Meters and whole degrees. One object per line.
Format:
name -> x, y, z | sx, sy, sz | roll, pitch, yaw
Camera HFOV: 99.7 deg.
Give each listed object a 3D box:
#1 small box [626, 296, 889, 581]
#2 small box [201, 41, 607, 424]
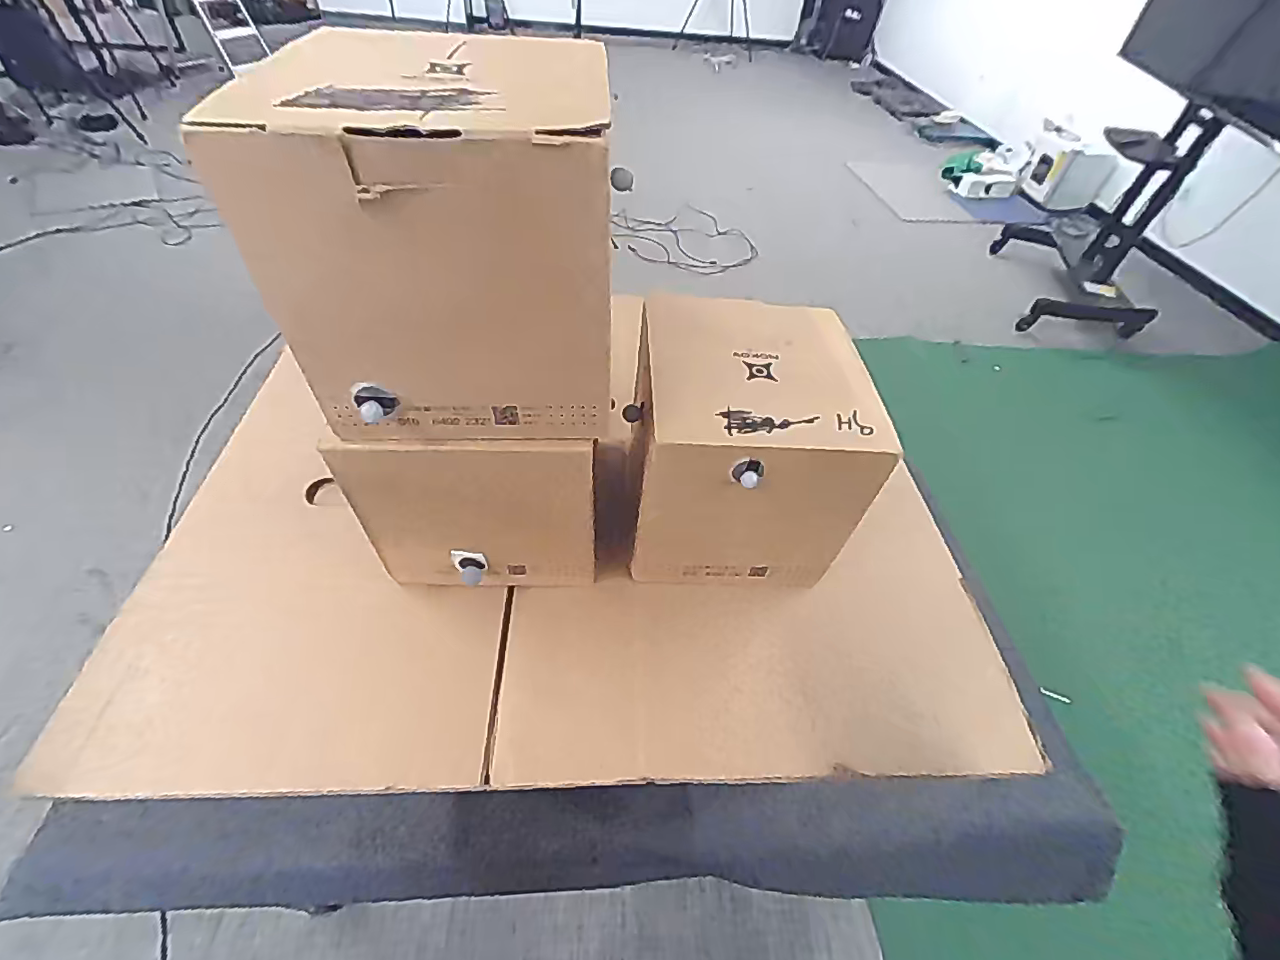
small box -> 0.076, -0.034, 0.469 | 0.168, 0.176, 0.179 | 3, 47, -5
small box -> -0.104, -0.149, 0.337 | 0.168, 0.176, 0.179 | 0, 47, -4
